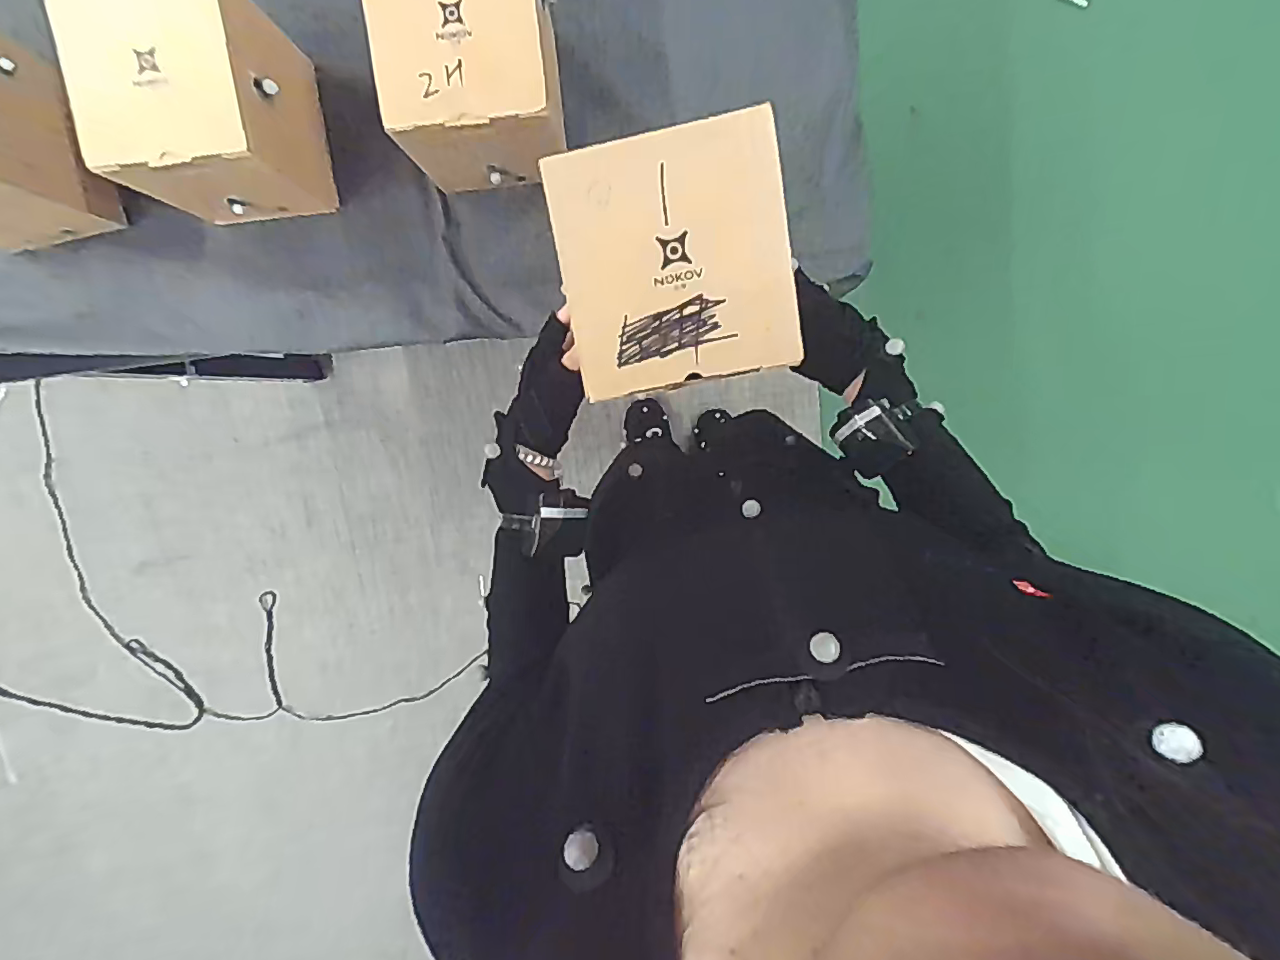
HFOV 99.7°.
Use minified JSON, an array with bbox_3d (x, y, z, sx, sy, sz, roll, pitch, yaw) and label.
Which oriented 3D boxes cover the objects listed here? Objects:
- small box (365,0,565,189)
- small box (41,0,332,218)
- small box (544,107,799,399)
[{"bbox_3d":[-0.178,-0.448,0.592,0.168,0.176,0.179,-5,99,0],"label":"small box"},{"bbox_3d":[-0.475,-0.413,0.595,0.168,0.176,0.179,-6,100,0],"label":"small box"},{"bbox_3d":[0.031,-0.175,0.466,0.168,0.176,0.179,-9,102,5],"label":"small box"}]
